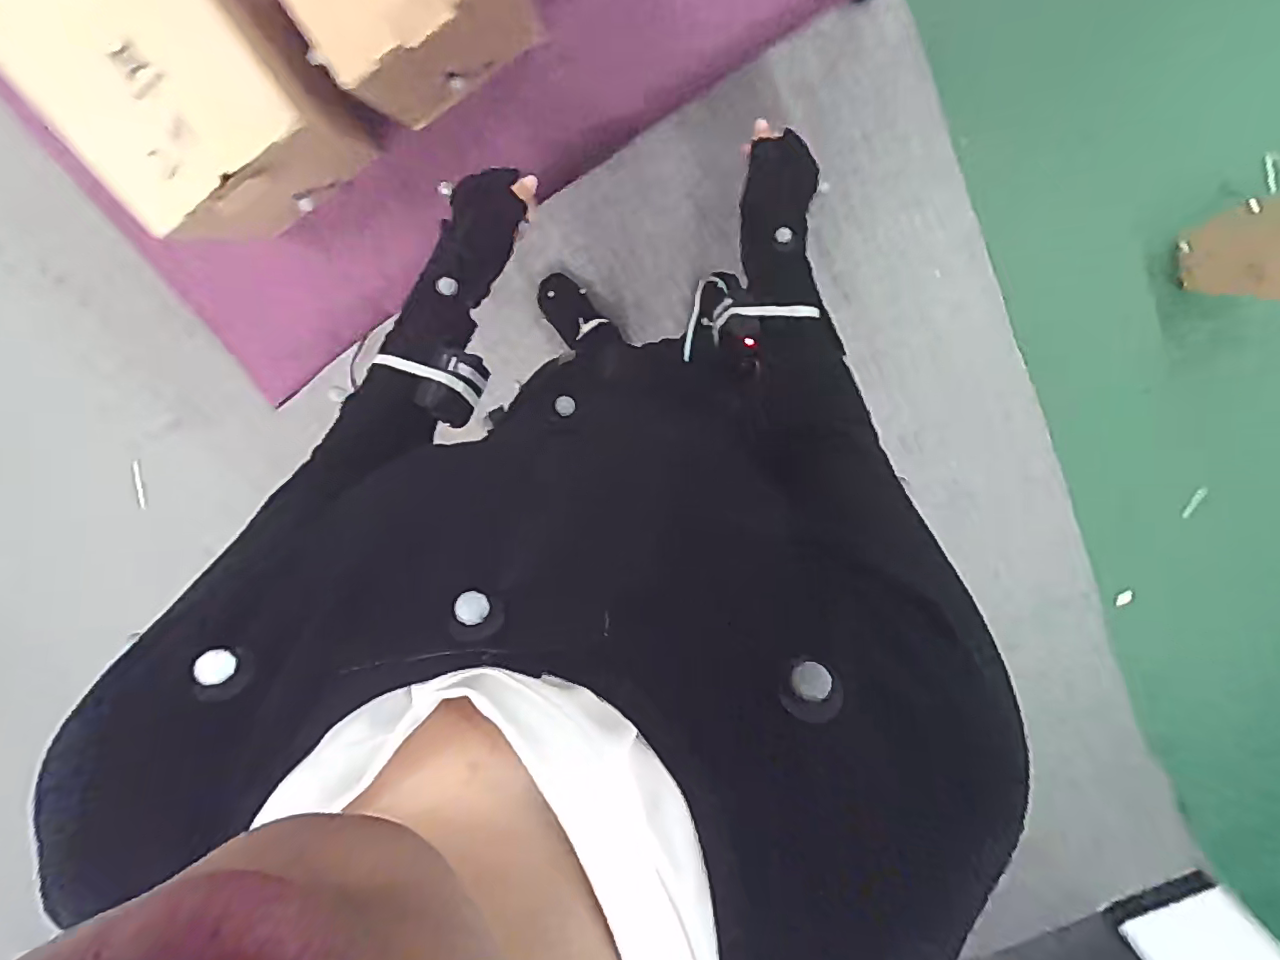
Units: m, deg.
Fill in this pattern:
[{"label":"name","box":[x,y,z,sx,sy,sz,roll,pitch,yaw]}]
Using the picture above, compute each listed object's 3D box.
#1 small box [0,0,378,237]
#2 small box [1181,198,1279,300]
[{"label":"small box","box":[-0.387,-0.345,0.496,0.168,0.176,0.179,-31,112,10]},{"label":"small box","box":[1.462,-0.555,1.301,0.179,0.176,0.168,-30,112,9]}]
